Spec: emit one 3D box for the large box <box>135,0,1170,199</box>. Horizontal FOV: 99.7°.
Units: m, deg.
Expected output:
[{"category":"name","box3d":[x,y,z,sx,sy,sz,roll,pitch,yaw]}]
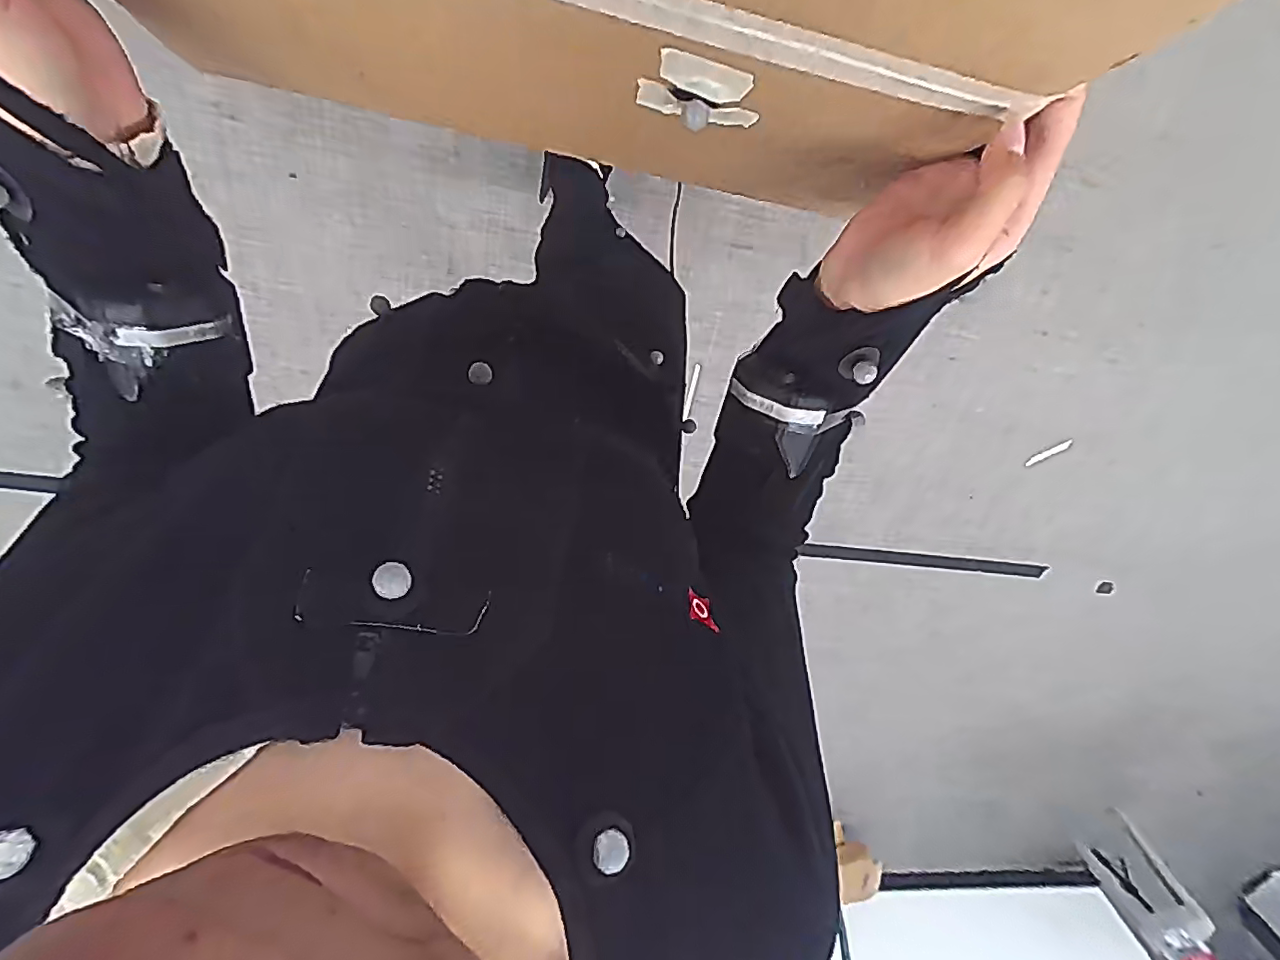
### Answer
[{"category":"large box","box3d":[-0.010,-0.338,0.172,0.408,0.320,0.320,6,99,-10]}]
